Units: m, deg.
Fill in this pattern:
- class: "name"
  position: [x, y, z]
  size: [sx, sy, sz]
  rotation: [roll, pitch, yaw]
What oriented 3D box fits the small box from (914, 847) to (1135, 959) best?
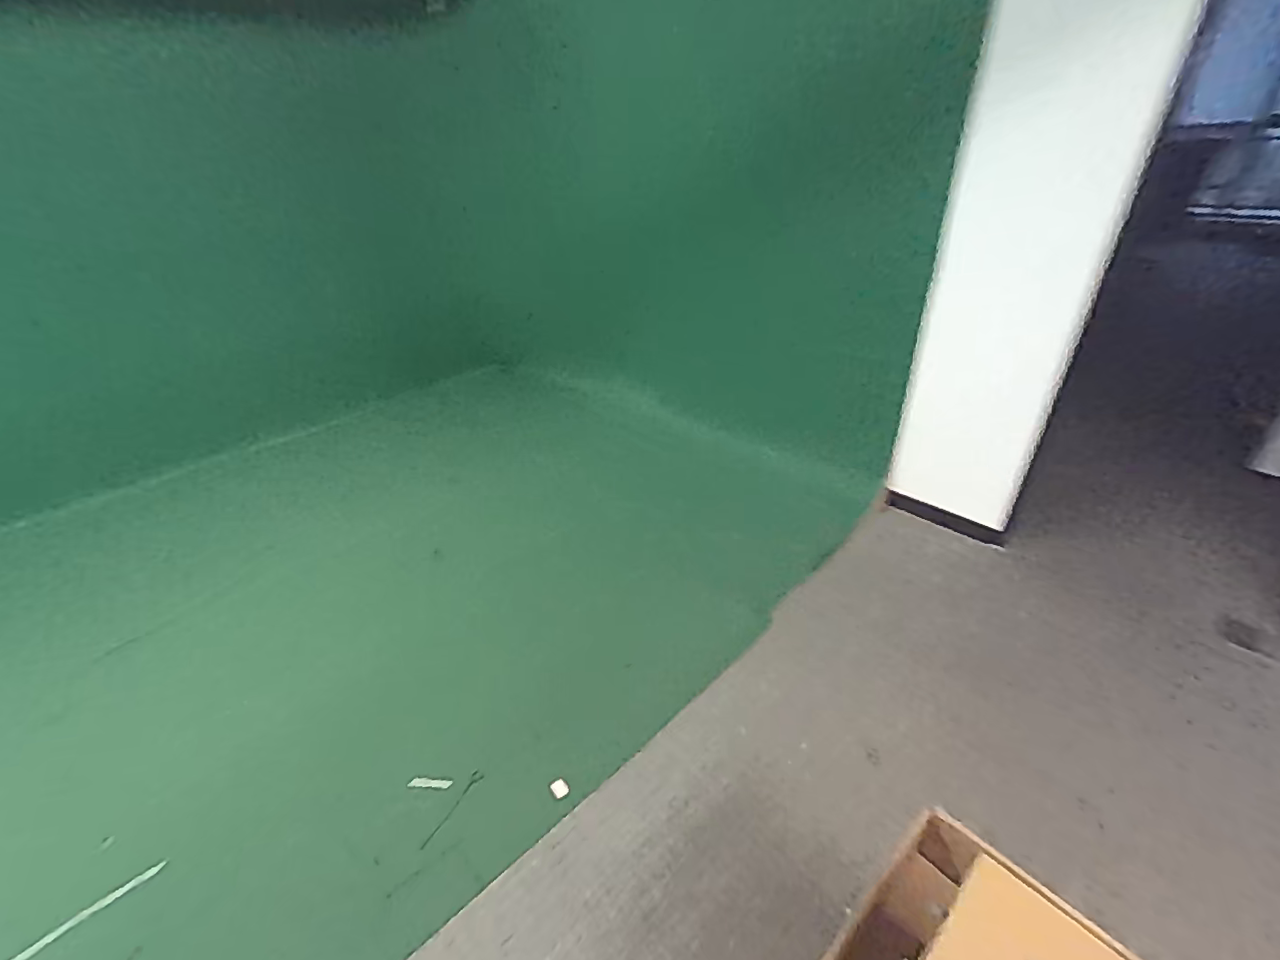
- class: "small box"
  position: [0.405, 0.562, 0.584]
  size: [0.168, 0.176, 0.179]
  rotation: [-30, 42, -31]
